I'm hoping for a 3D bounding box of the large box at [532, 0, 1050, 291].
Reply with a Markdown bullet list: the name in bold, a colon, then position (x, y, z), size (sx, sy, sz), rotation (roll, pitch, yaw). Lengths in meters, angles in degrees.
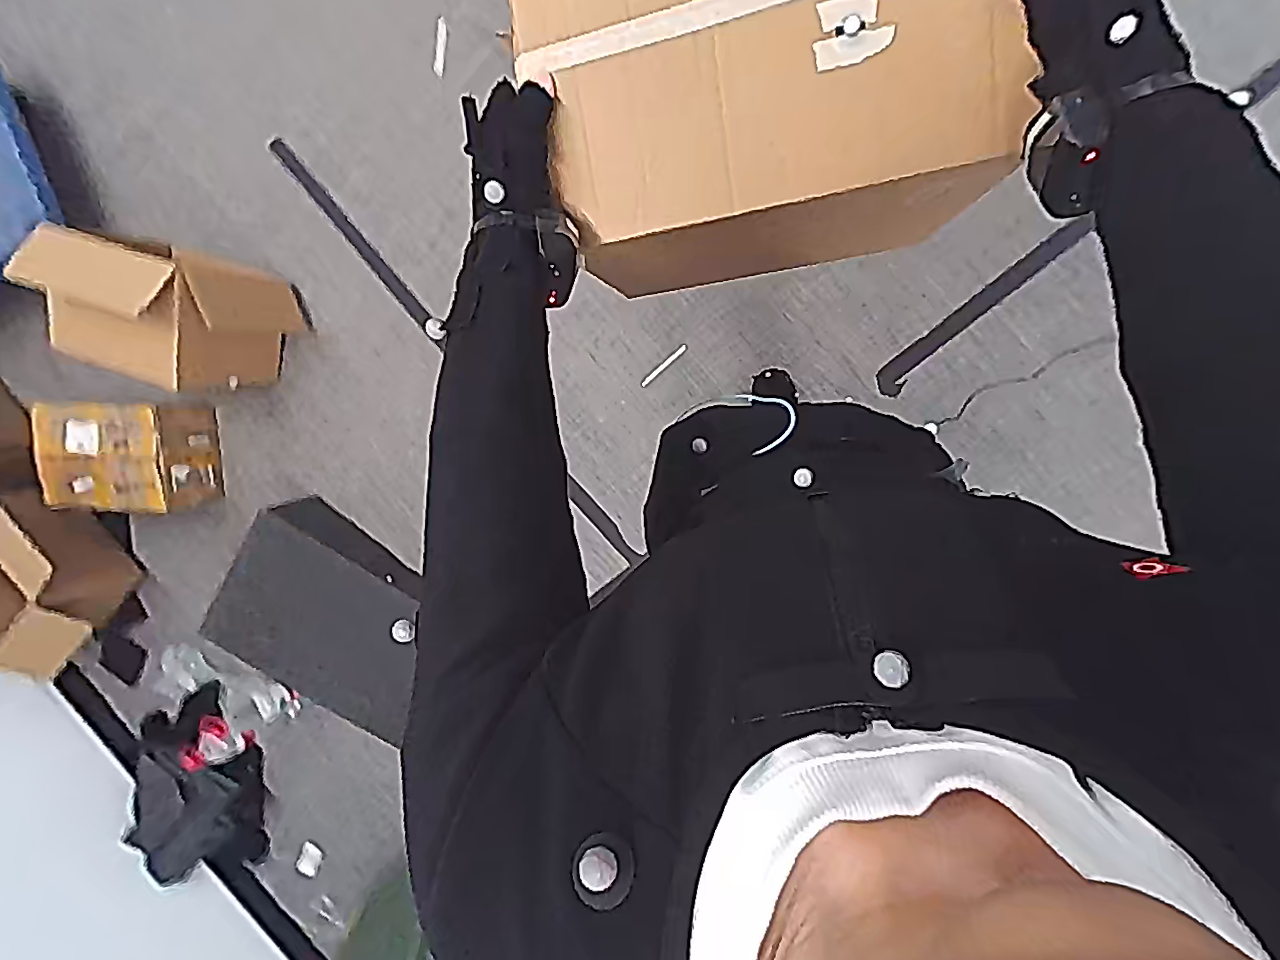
- **large box**: position (0.130, -0.419, 0.583), size (0.408, 0.320, 0.320), rotation (-6, 100, 11)
